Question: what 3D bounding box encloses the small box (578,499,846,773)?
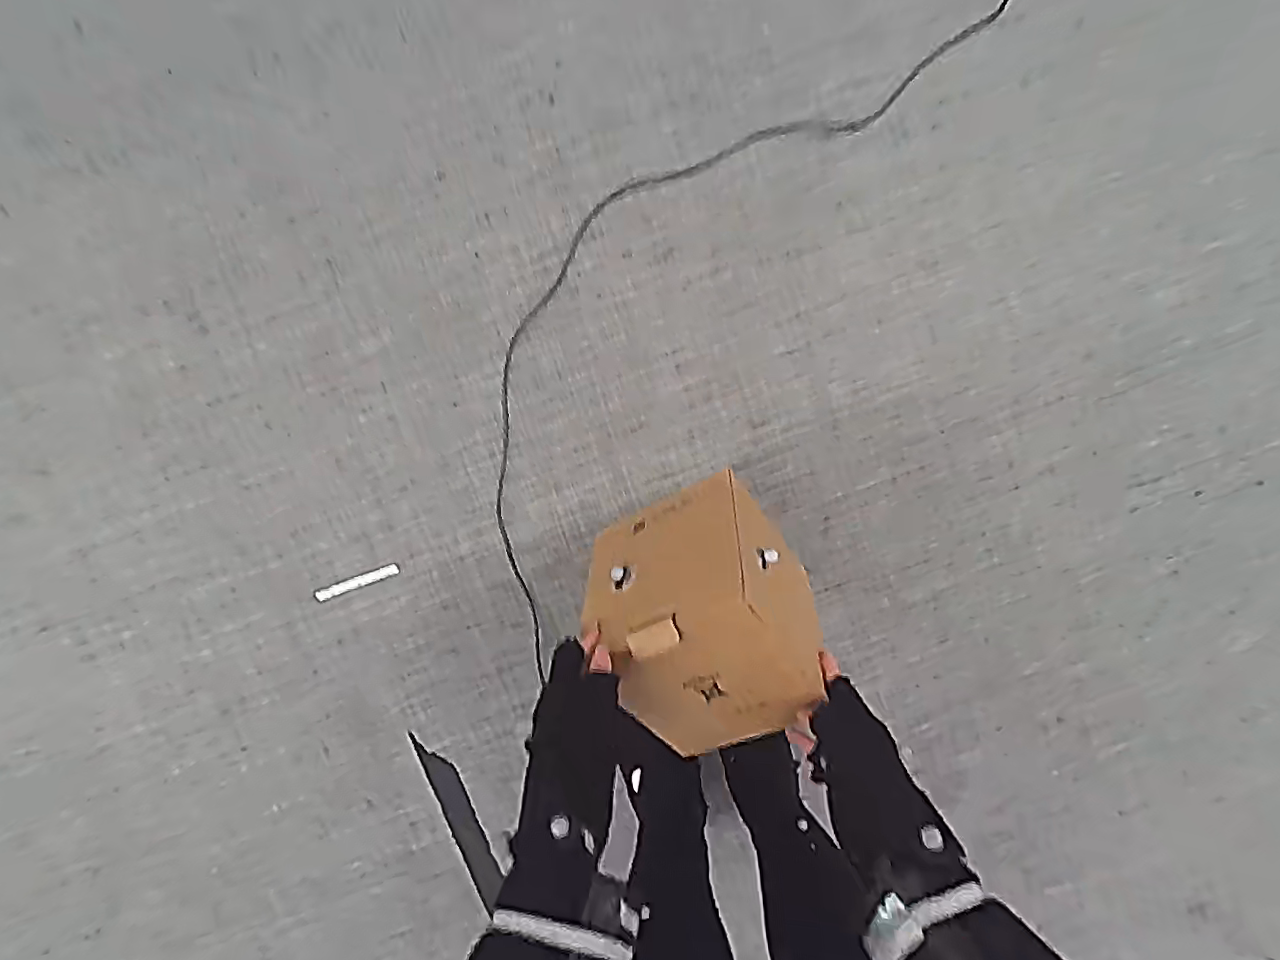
[{"bbox_3d":[0.065,0.140,0.512,0.168,0.176,0.179,-28,122,23],"label":"small box"}]
